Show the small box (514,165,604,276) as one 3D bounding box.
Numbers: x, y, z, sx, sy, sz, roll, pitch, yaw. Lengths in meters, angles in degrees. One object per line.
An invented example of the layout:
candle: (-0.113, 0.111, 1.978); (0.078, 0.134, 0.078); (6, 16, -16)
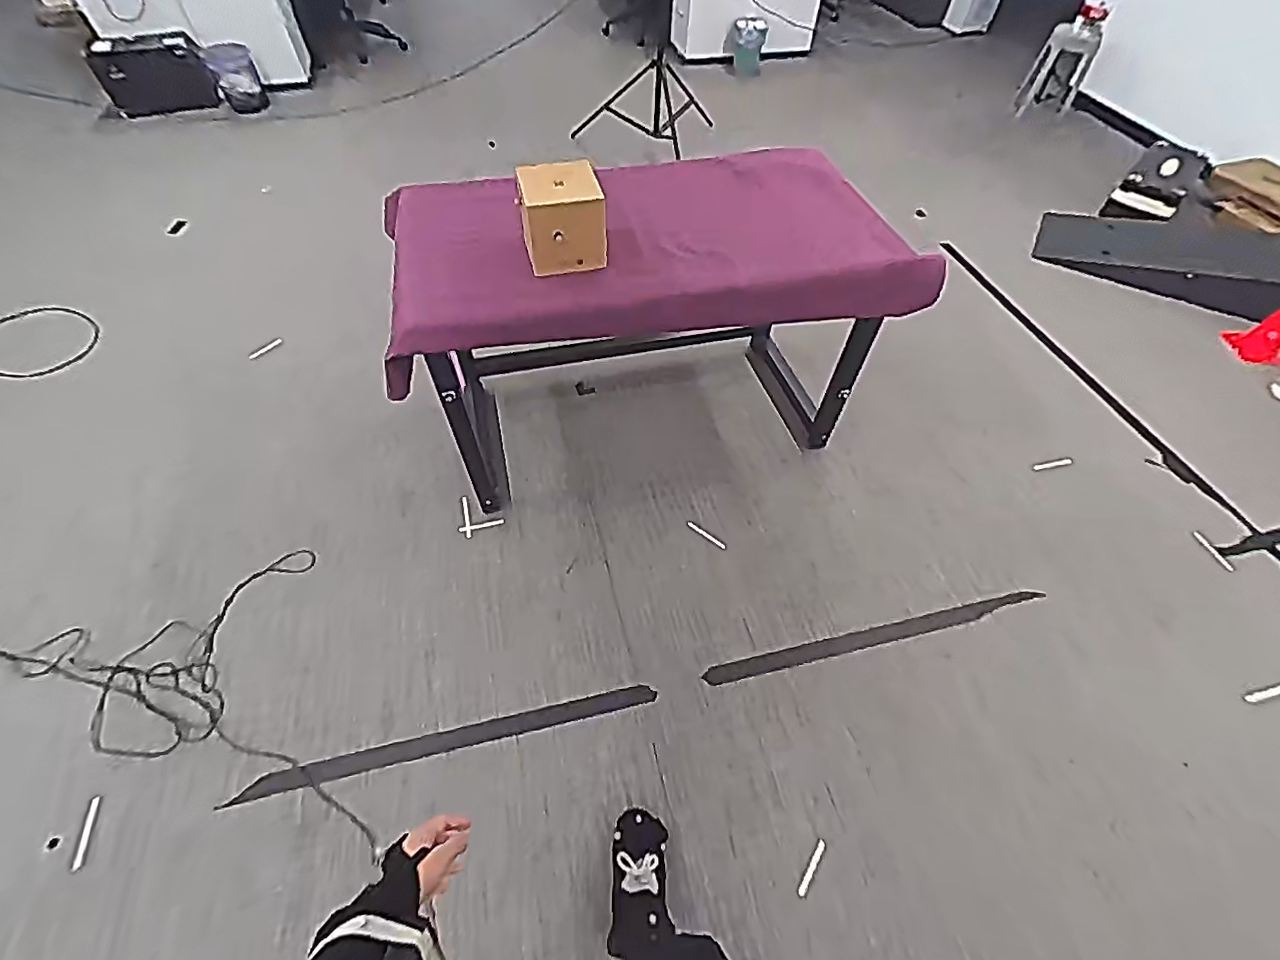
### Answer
small box: (-0.179, -0.579, 1.223); (0.168, 0.176, 0.179); (-12, 55, -10)
